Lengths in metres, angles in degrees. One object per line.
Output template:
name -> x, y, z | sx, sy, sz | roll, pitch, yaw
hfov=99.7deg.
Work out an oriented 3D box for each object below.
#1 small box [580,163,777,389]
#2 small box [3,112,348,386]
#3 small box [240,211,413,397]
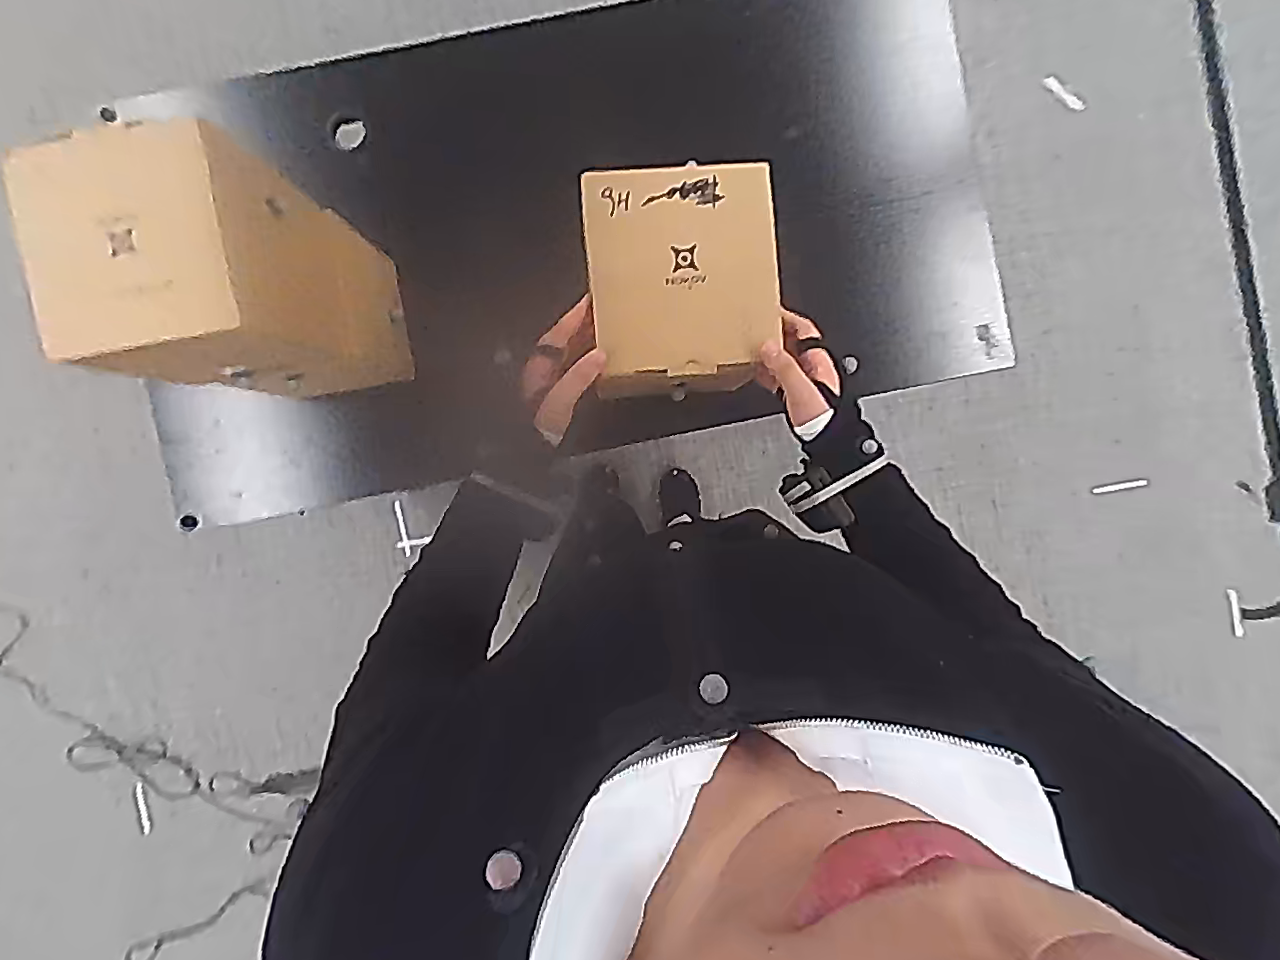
small box -> 0.031, -0.188, 0.551 | 0.168, 0.176, 0.179 | -5, 93, -4
small box -> -0.415, -0.199, 0.516 | 0.168, 0.176, 0.179 | -11, 93, 1
small box -> -0.415, -0.205, 0.678 | 0.179, 0.176, 0.168 | -10, 92, -1
